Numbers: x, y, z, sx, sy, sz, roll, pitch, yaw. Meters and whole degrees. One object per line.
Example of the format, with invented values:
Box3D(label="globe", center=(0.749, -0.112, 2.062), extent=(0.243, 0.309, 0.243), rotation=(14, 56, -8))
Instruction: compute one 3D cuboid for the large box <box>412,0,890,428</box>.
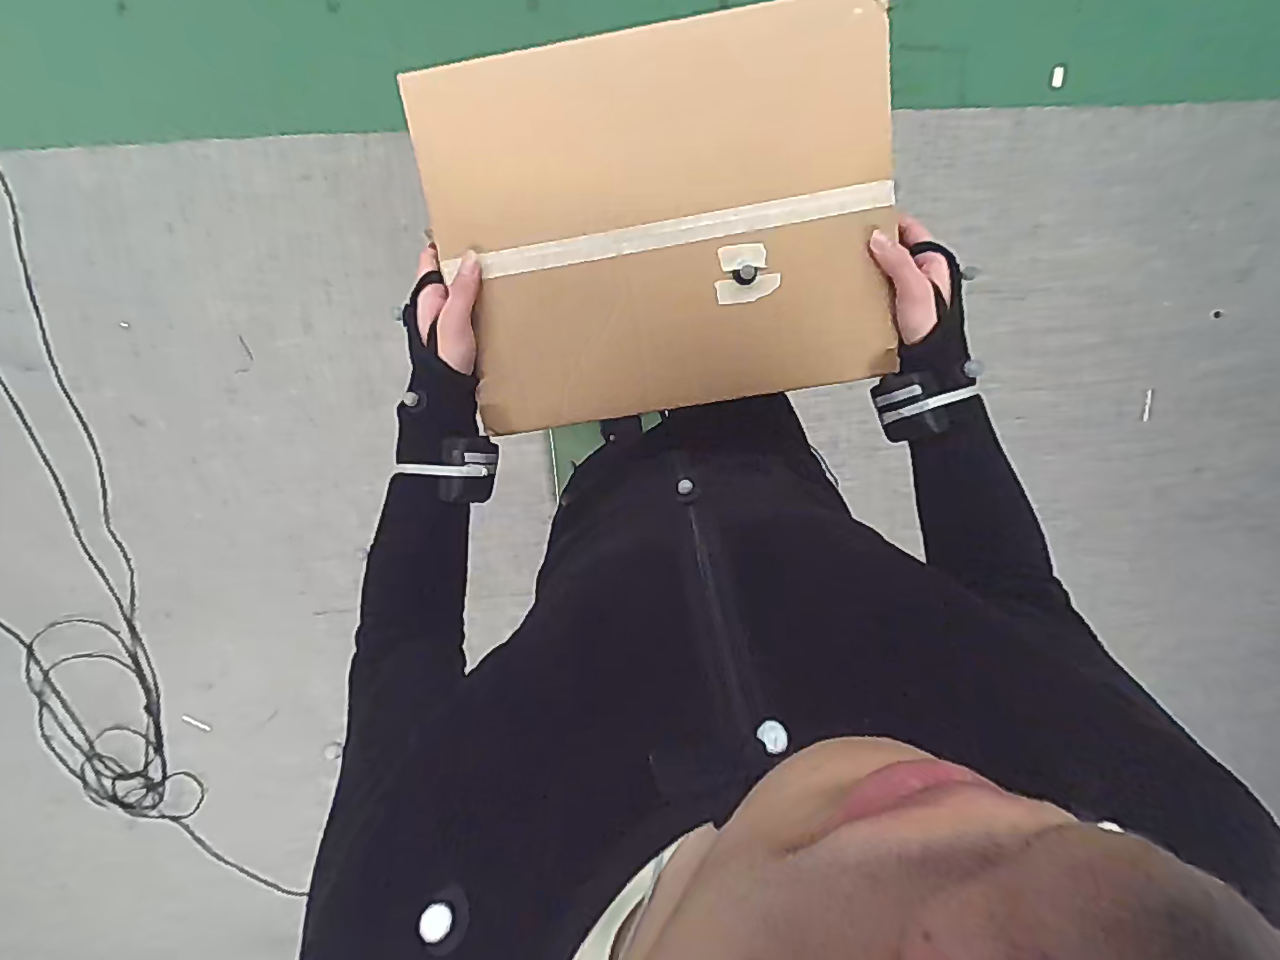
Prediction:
Box3D(label="large box", center=(0.020, -0.267, 0.638), extent=(0.408, 0.320, 0.320), rotation=(-9, 105, 2))
